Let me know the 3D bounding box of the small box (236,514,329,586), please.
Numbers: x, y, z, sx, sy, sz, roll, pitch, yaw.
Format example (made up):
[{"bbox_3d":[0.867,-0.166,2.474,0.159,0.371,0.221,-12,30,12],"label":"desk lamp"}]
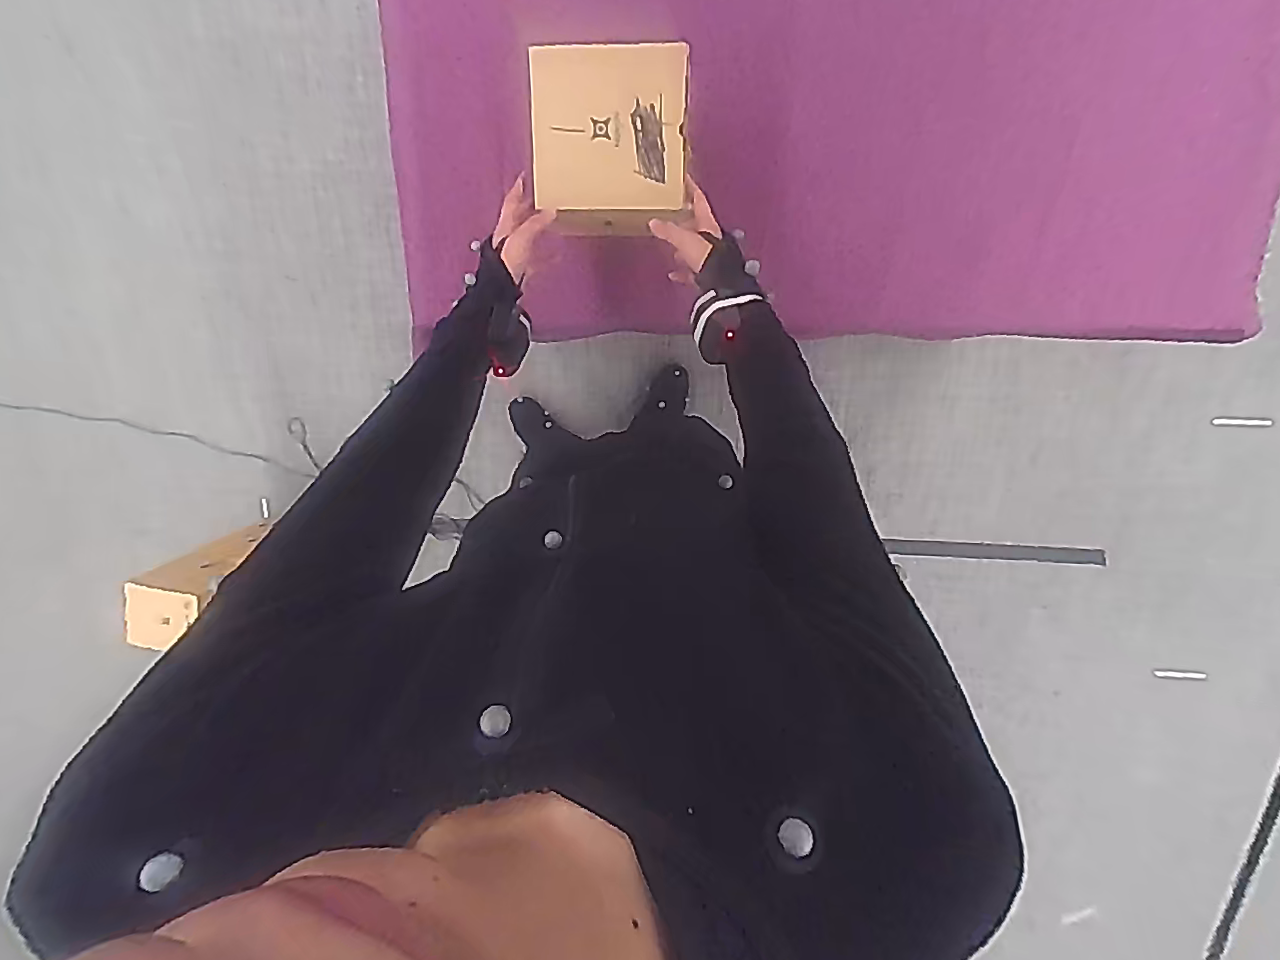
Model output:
[{"bbox_3d":[-1.093,0.209,1.654,0.179,0.176,0.168,2,106,2],"label":"small box"}]

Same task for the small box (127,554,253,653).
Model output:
[{"bbox_3d":[-1.106,0.298,1.340,0.179,0.176,0.168,11,106,1],"label":"small box"}]

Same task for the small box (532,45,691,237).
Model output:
[{"bbox_3d":[-0.030,-0.411,0.681,0.179,0.176,0.168,2,105,3],"label":"small box"}]

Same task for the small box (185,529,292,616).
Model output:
[{"bbox_3d":[-1.100,0.252,1.498,0.168,0.176,0.179,4,106,2],"label":"small box"}]
